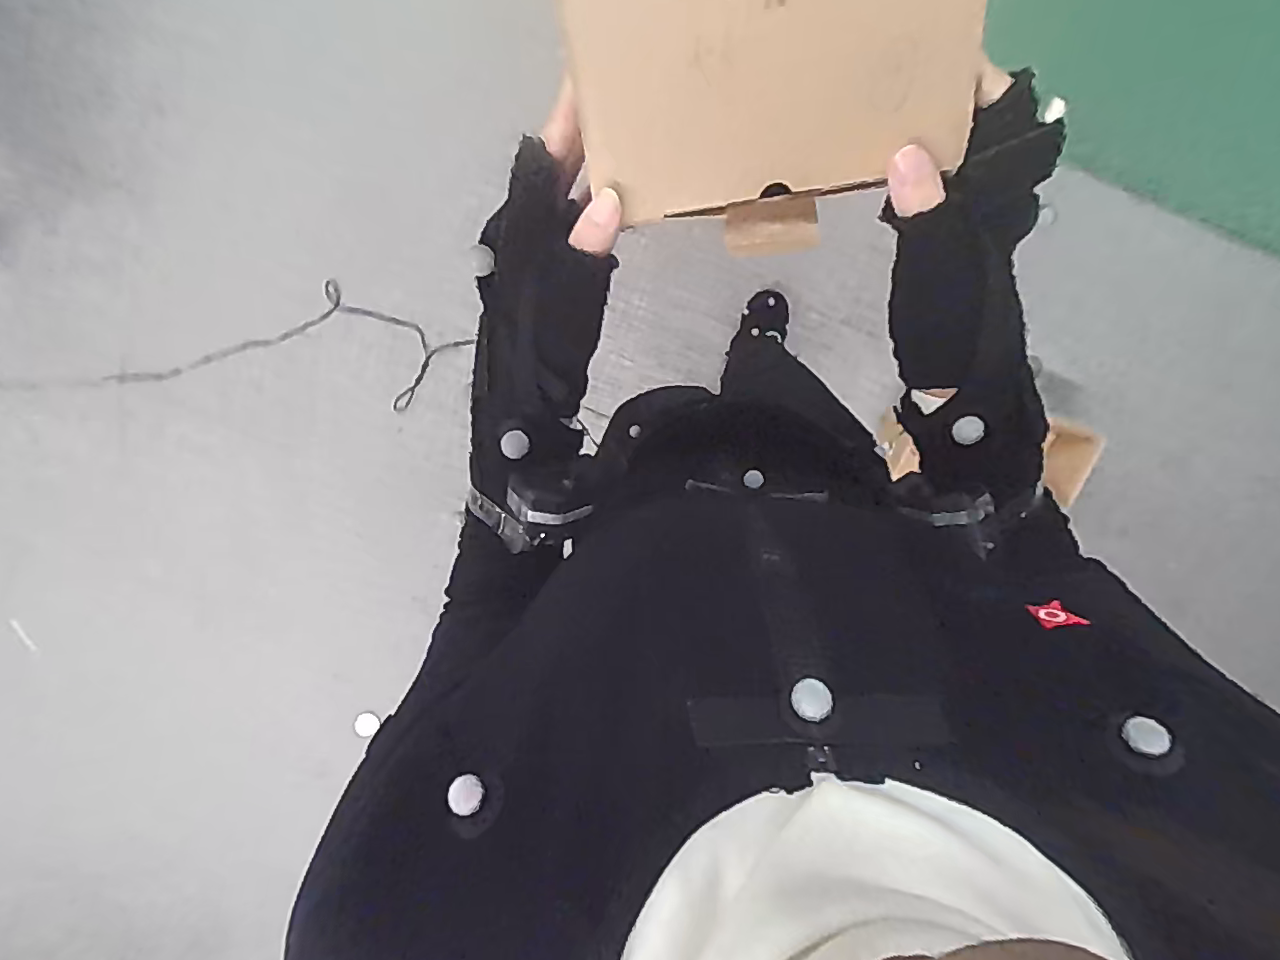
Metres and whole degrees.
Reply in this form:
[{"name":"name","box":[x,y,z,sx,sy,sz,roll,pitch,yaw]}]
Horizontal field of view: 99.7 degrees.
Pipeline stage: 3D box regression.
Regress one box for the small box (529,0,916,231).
[{"name":"small box","box":[0.035,-0.254,0.297,0.168,0.176,0.179,-10,118,6]}]
